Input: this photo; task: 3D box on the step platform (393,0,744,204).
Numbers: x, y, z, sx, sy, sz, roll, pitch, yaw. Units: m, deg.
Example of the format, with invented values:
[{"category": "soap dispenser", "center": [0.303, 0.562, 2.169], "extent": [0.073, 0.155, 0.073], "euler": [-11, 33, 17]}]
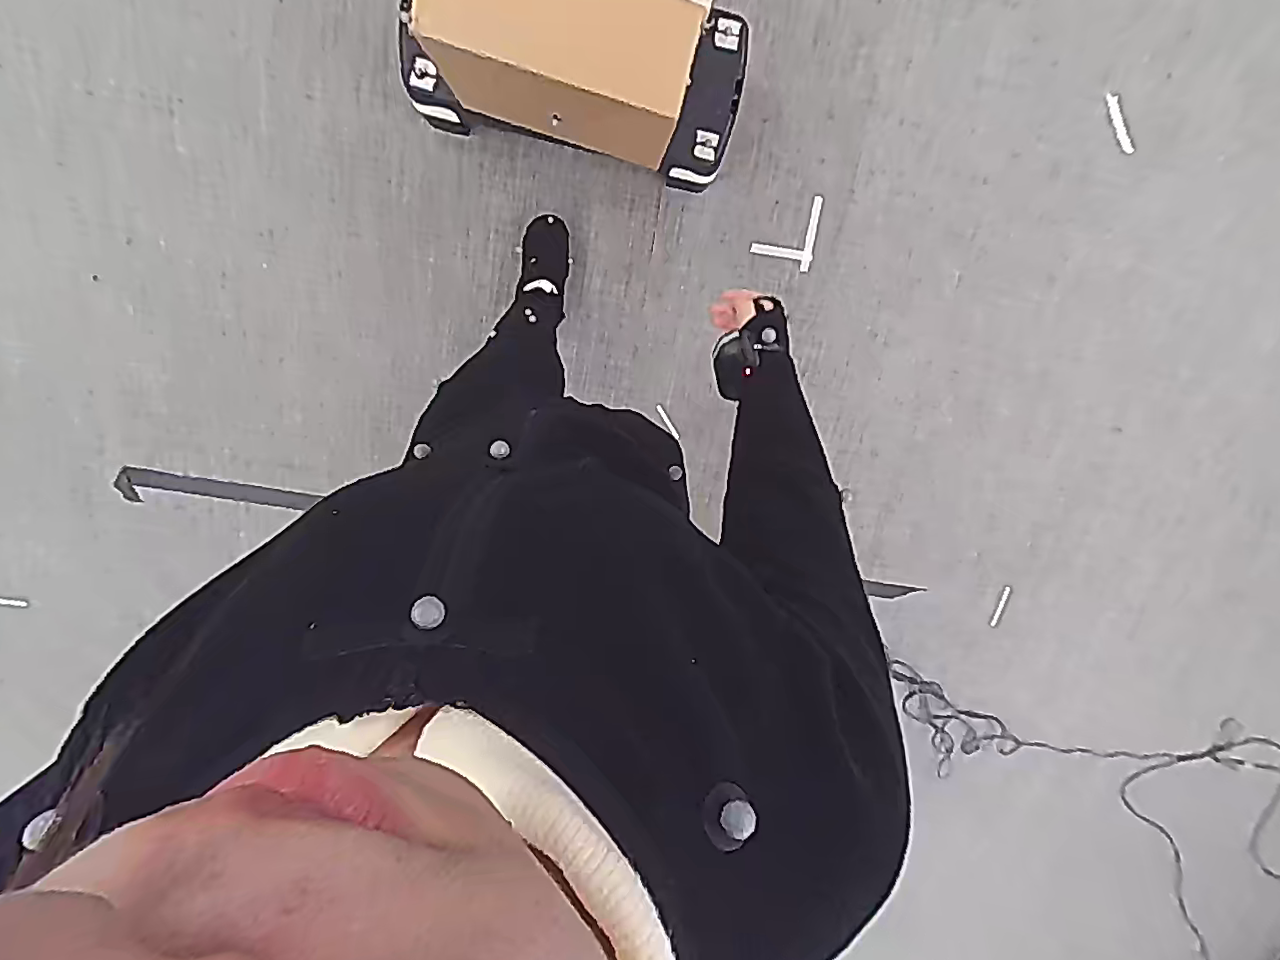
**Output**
[{"category": "step platform", "center": [-0.136, -0.836, 1.122], "extent": [0.684, 0.204, 0.286], "euler": [15, 105, -7]}]

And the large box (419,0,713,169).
[{"category": "large box", "center": [-0.094, -0.767, 0.896], "extent": [0.408, 0.320, 0.320], "euler": [13, 105, -7]}]
